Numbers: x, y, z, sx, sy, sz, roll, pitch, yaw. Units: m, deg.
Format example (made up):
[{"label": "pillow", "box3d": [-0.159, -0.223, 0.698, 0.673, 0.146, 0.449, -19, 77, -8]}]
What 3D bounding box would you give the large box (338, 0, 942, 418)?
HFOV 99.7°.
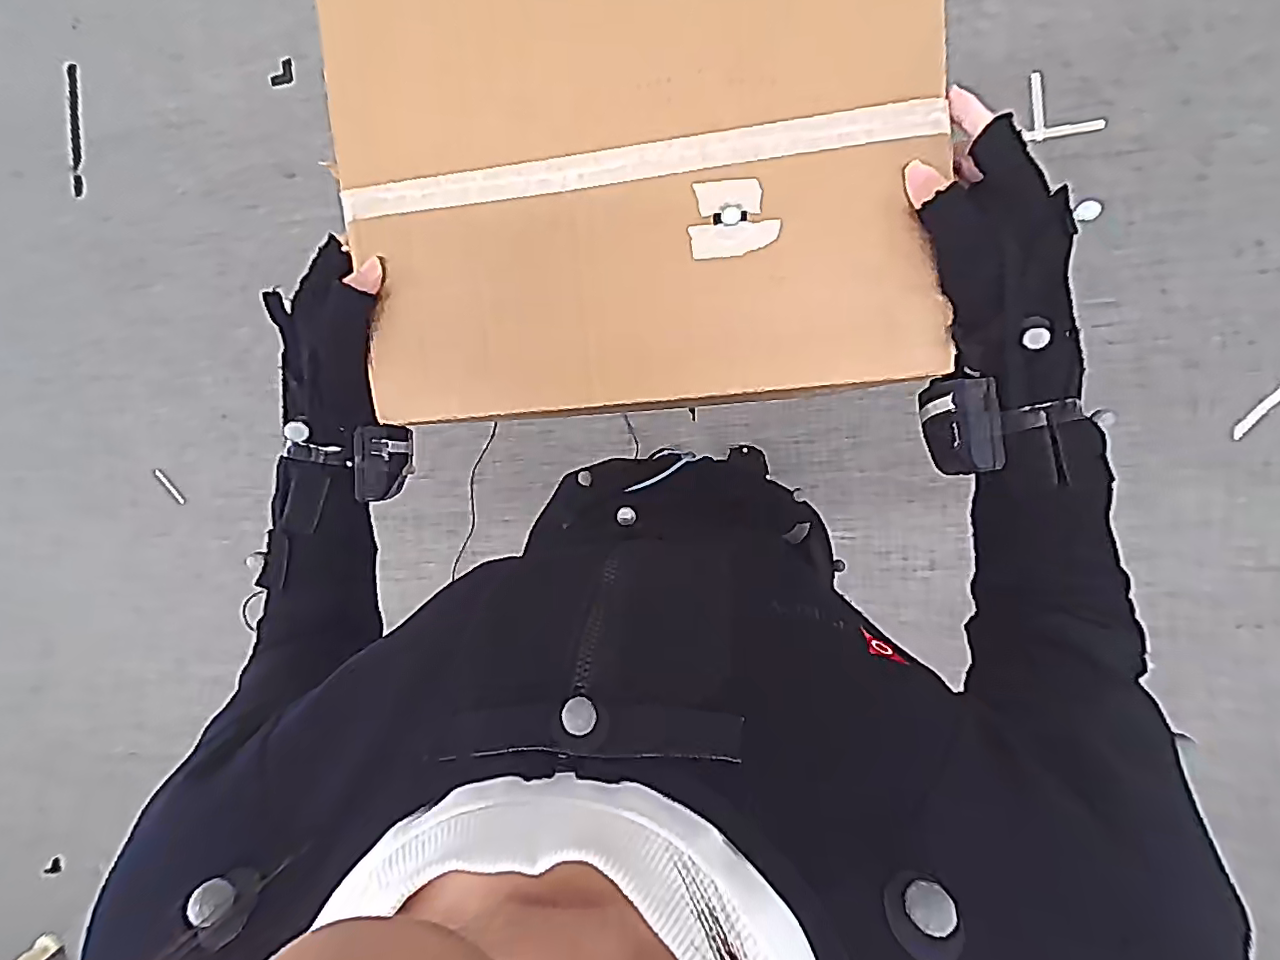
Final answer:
[{"label": "large box", "box3d": [0.009, -0.234, 0.522, 0.408, 0.320, 0.320, -5, 97, 7]}]
